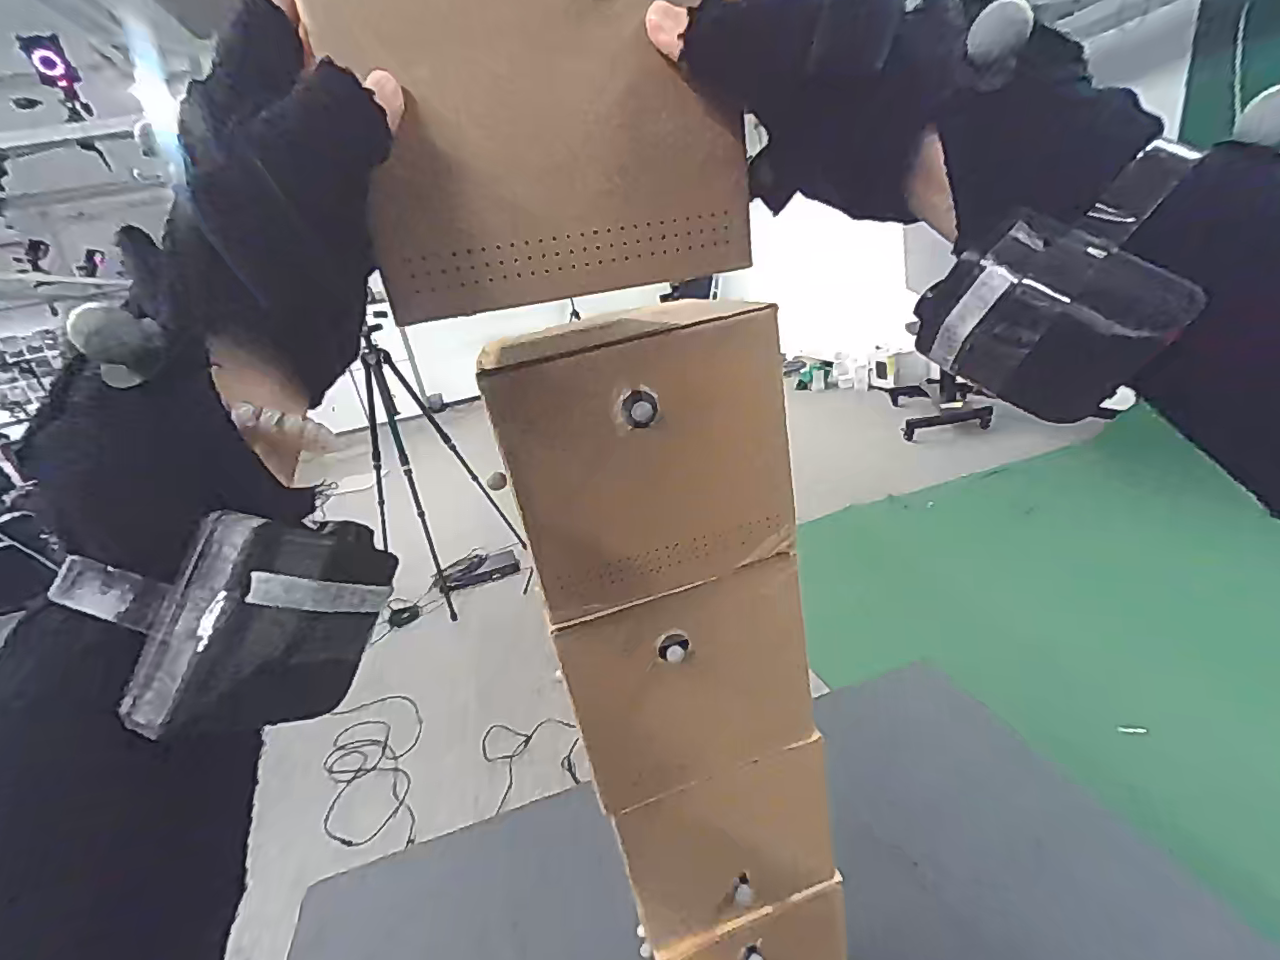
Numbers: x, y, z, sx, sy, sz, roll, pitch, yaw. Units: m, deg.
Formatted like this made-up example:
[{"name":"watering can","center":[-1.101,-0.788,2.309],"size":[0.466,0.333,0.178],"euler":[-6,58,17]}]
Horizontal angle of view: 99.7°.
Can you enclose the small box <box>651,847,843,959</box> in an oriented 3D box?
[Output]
[{"name":"small box","center":[0.090,0.427,0.564],"size":[0.179,0.176,0.168],"euler":[-16,21,-11]}]

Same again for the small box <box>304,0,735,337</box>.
[{"name":"small box","center":[-0.055,-0.187,0.303],"size":[0.179,0.176,0.168],"euler":[-13,23,-9]}]

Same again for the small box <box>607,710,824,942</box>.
[{"name":"small box","center":[0.056,0.275,0.513],"size":[0.179,0.176,0.168],"euler":[-14,20,-9]}]

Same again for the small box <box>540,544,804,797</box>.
[{"name":"small box","center":[0.019,0.124,0.458],"size":[0.179,0.176,0.168],"euler":[-15,21,-11]}]

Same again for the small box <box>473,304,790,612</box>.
[{"name":"small box","center":[-0.007,-0.027,0.401],"size":[0.179,0.176,0.168],"euler":[-15,22,-8]}]
